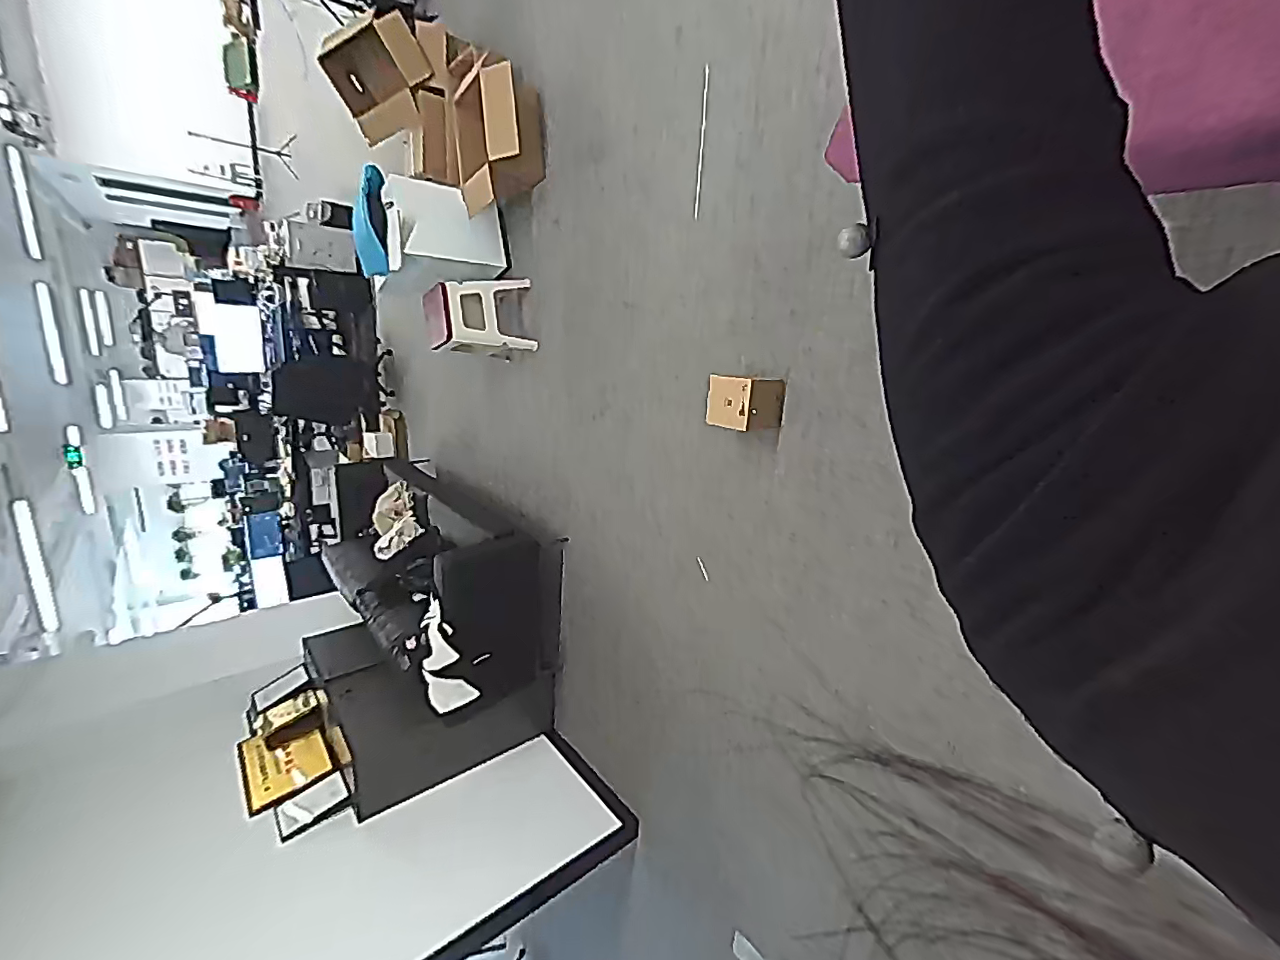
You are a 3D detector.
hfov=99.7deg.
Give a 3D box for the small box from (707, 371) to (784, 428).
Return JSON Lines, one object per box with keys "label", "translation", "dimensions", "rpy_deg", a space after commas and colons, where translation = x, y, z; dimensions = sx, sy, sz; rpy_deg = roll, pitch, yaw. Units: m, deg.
{"label": "small box", "translation": [0.350, -0.270, 1.798], "dimensions": [0.179, 0.176, 0.168], "rpy_deg": [21, 113, 47]}
